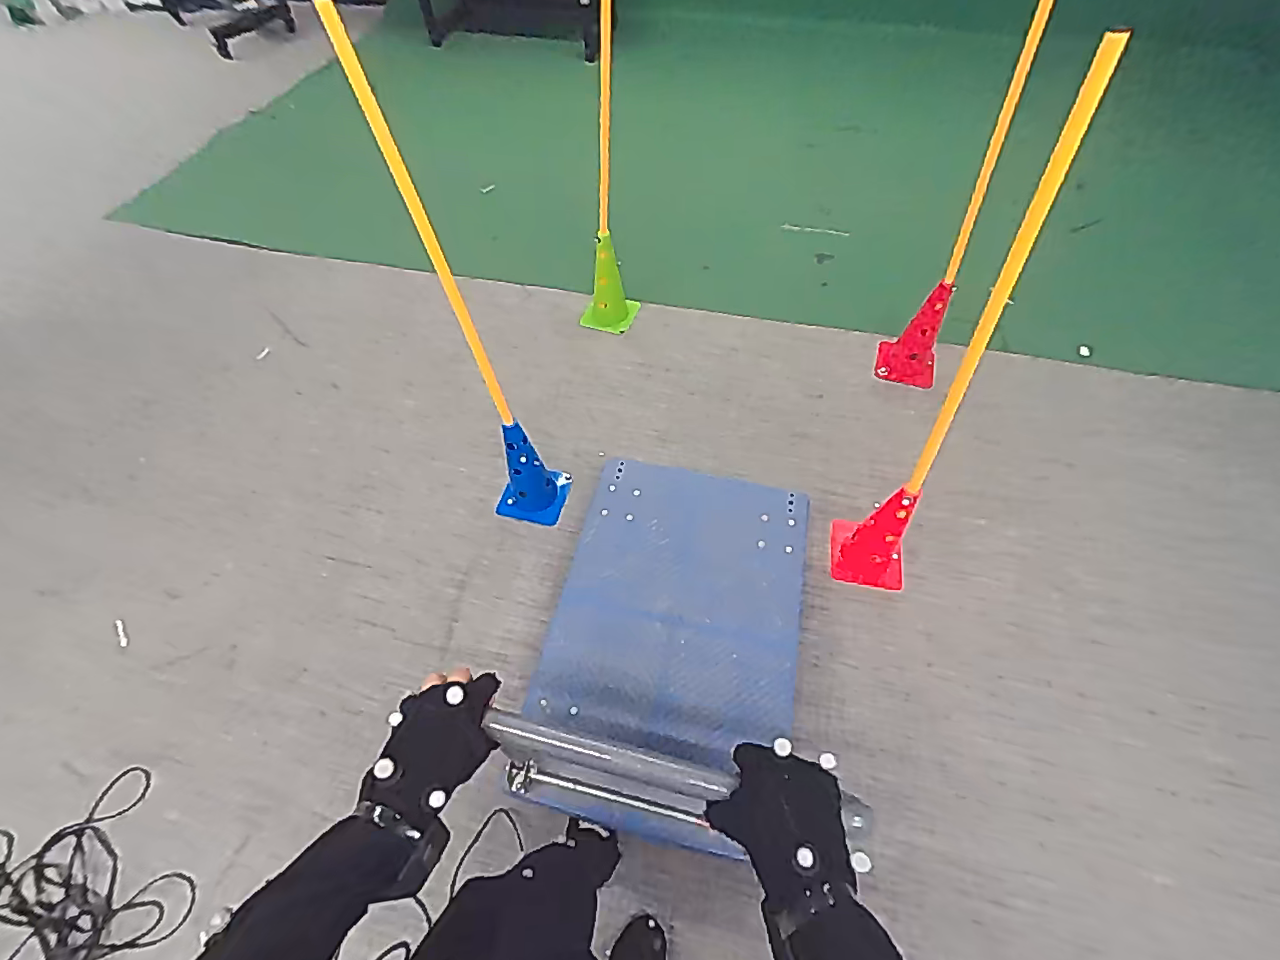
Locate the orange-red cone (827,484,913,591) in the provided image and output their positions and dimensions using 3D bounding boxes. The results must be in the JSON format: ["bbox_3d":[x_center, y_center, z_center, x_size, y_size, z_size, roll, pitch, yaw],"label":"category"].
[{"bbox_3d":[0.640,0.124,1.435,0.199,0.360,0.198,10,57,10],"label":"orange-red cone"}]

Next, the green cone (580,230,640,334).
[{"bbox_3d":[-0.126,-0.764,2.041,0.202,0.368,0.200,15,57,12],"label":"green cone"}]
